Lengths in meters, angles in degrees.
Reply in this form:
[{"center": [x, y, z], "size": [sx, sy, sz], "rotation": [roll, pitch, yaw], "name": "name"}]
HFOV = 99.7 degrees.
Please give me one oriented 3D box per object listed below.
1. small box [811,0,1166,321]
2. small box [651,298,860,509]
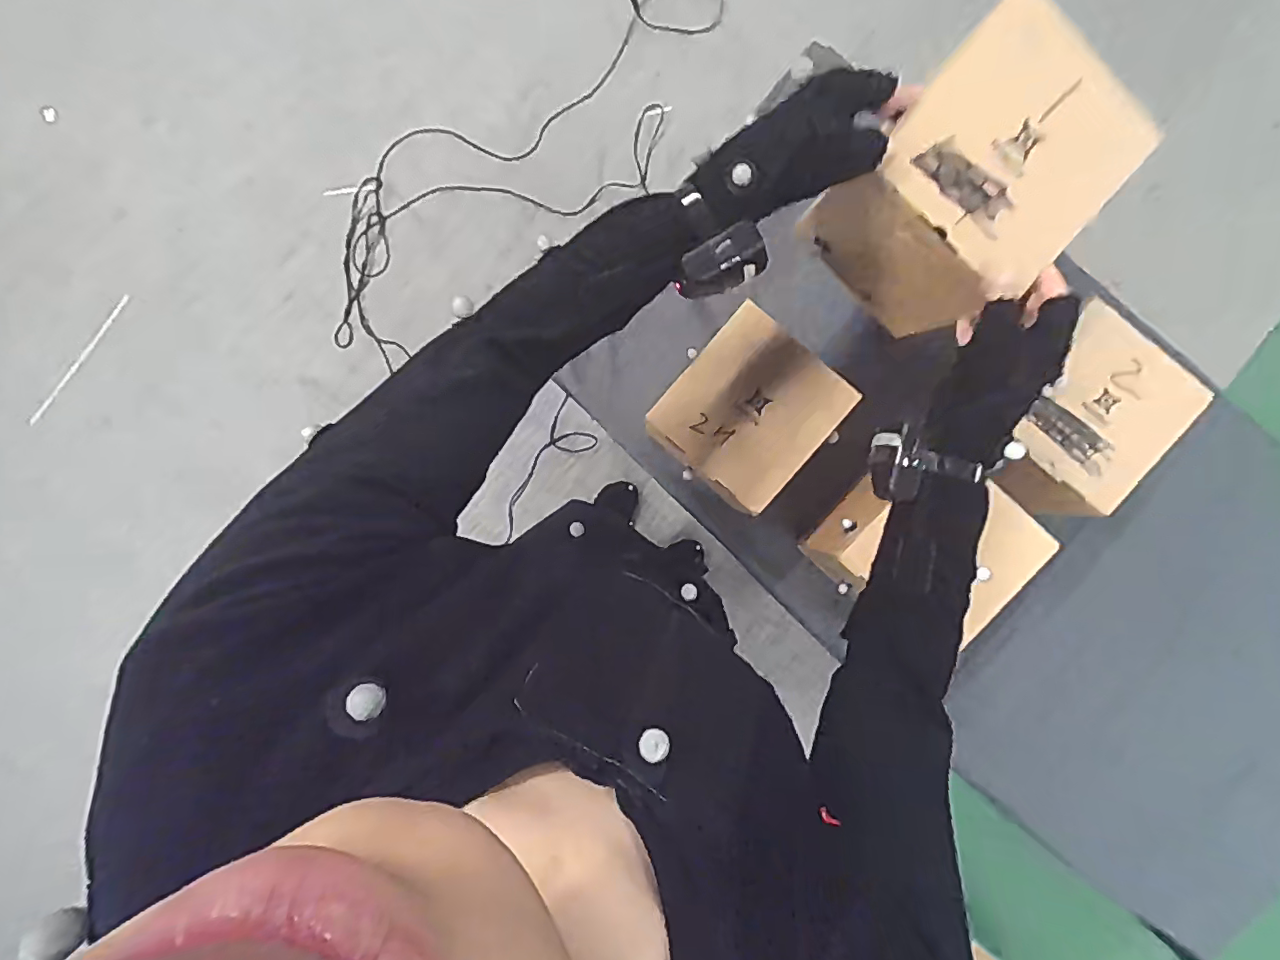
[{"center": [0.280, -0.267, 0.485], "size": [0.168, 0.176, 0.179], "rotation": [41, 93, -8], "name": "small box"}, {"center": [0.127, -0.084, 0.670], "size": [0.168, 0.176, 0.179], "rotation": [41, 91, 2], "name": "small box"}]
